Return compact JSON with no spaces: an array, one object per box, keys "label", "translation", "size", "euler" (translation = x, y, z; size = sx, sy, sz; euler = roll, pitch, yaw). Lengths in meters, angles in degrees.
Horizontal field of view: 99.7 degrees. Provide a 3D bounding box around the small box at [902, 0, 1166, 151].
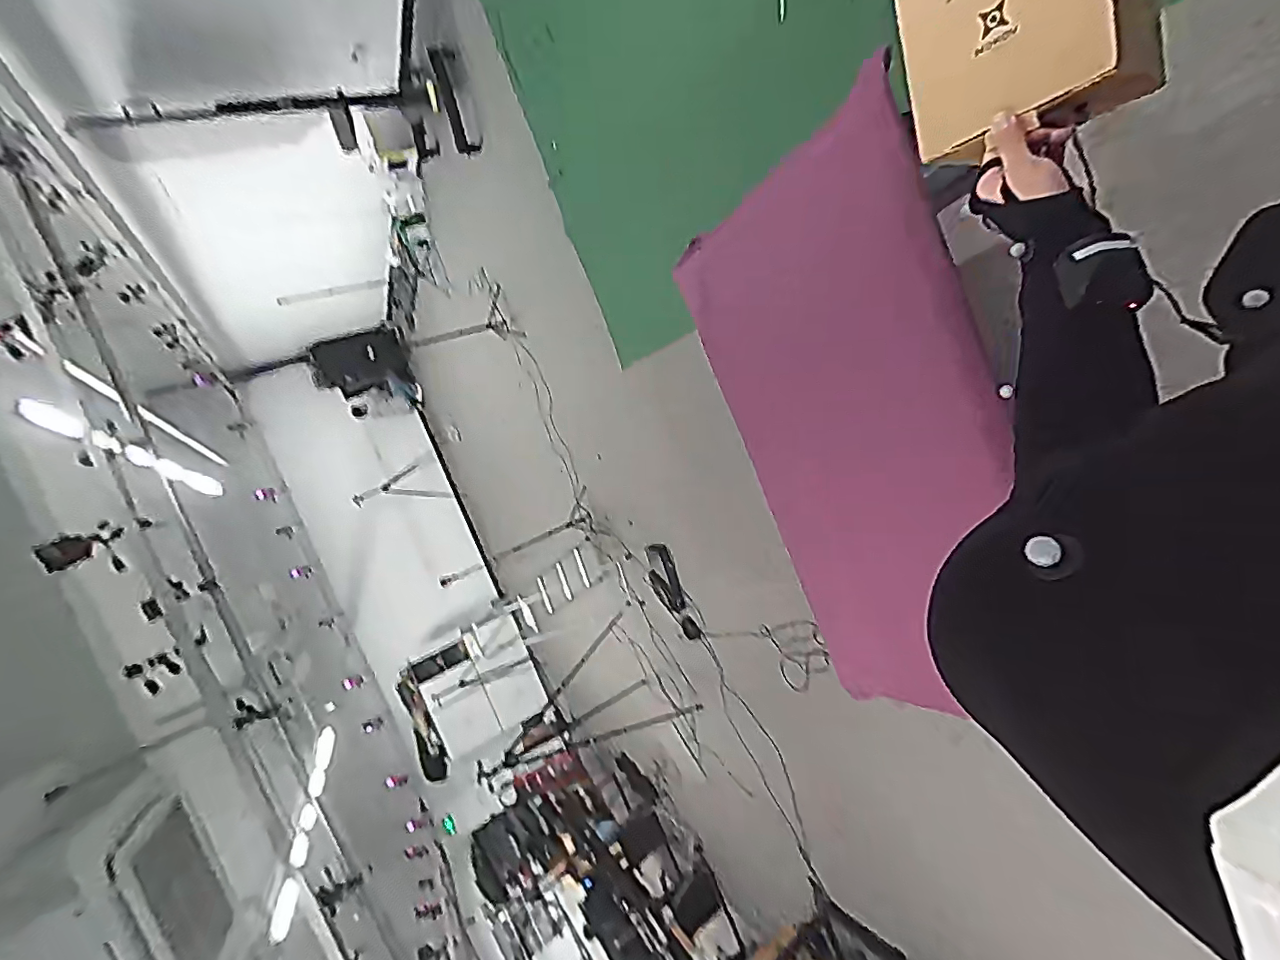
[{"label":"small box","translation":[0.393,-0.460,0.540],"size":[0.168,0.176,0.179],"euler":[0,109,54]}]
